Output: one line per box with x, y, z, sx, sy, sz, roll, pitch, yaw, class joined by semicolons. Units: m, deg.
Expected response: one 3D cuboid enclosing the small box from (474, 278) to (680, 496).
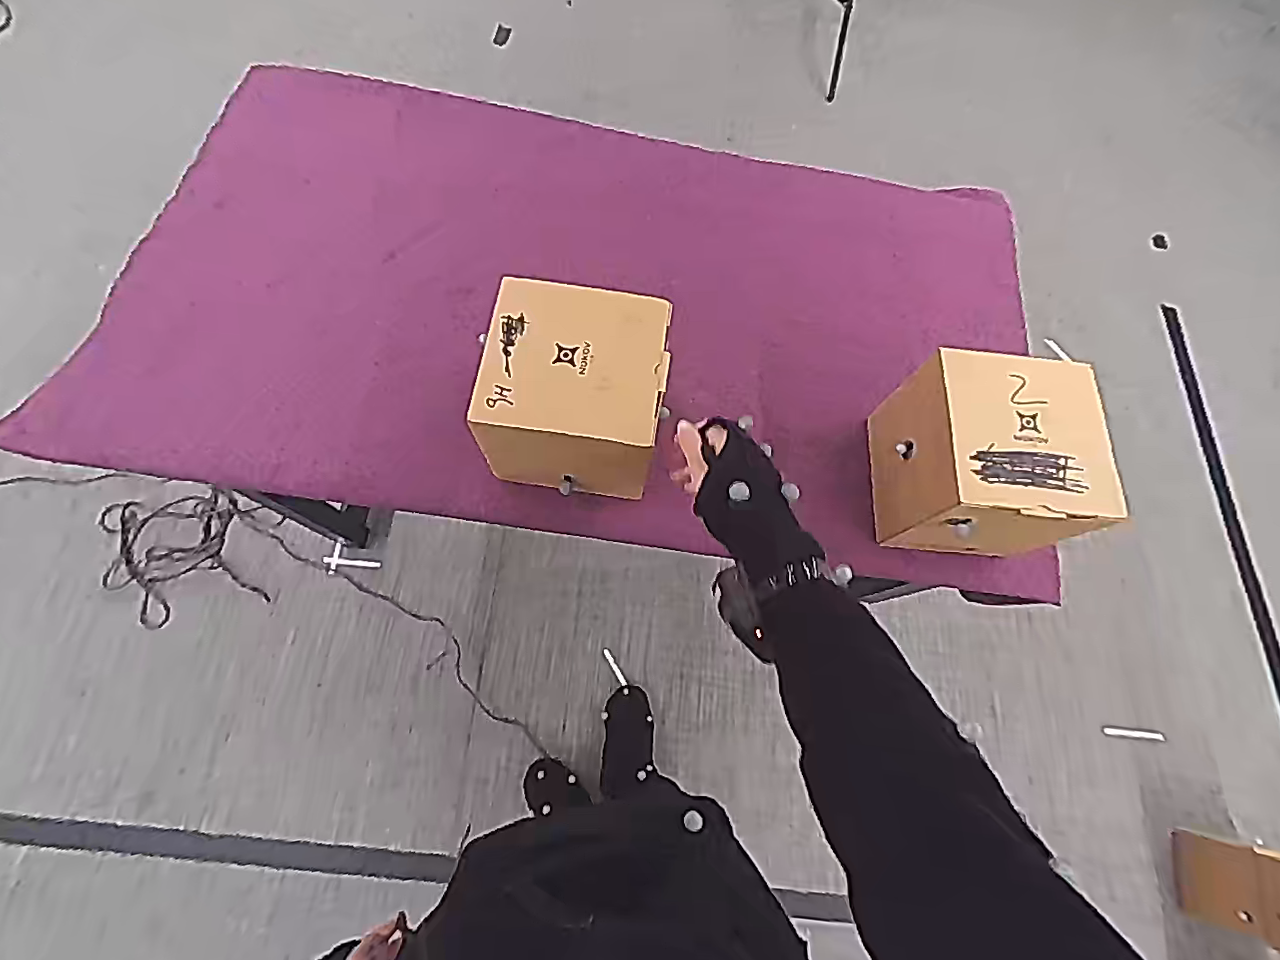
-0.063;-0.088;0.594;0.179;0.176;0.168;9;71;-2;small box

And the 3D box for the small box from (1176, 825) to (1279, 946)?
1.312;0.869;1.160;0.168;0.176;0.179;12;71;-1;small box

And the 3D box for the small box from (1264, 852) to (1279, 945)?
1.333;0.821;1.006;0.179;0.176;0.168;11;72;-2;small box
